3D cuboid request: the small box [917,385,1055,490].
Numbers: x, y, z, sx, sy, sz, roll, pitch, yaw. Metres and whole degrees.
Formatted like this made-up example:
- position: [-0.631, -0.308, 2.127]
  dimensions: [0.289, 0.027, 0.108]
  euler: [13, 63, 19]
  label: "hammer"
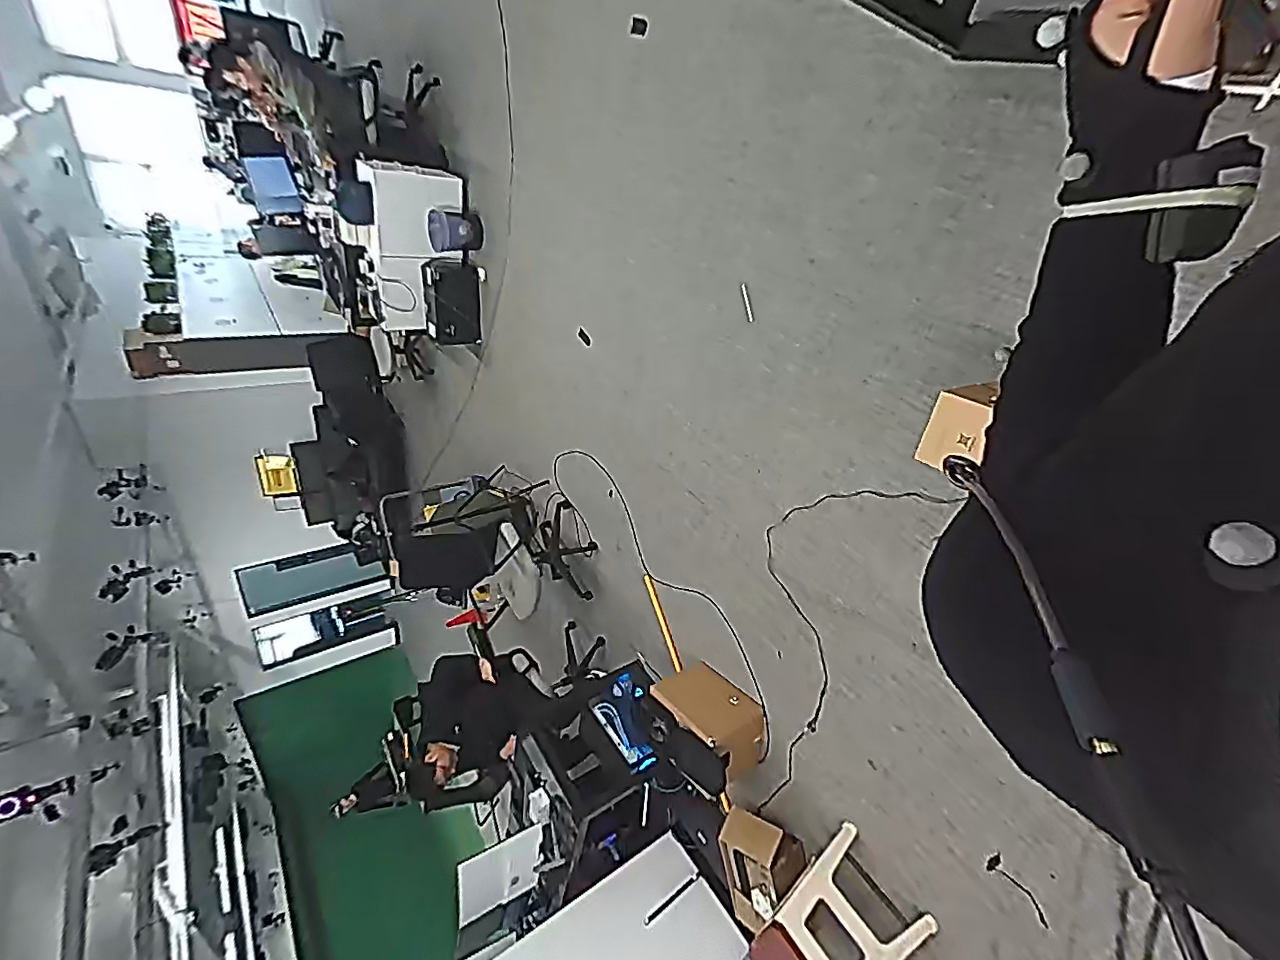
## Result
- position: [0.756, -0.102, 1.181]
  dimensions: [0.179, 0.176, 0.168]
  euler: [38, 130, 43]
  label: "small box"
